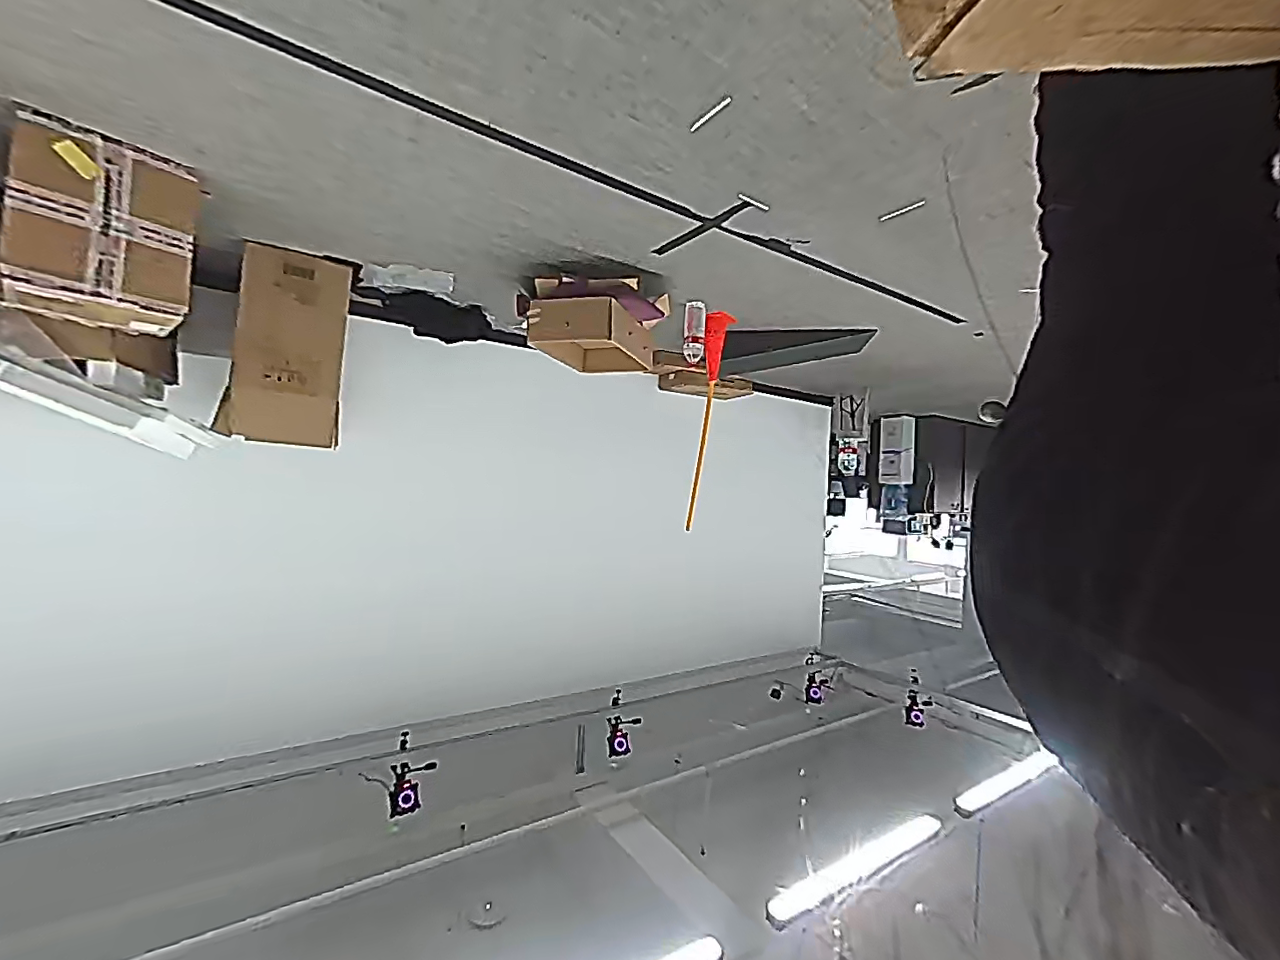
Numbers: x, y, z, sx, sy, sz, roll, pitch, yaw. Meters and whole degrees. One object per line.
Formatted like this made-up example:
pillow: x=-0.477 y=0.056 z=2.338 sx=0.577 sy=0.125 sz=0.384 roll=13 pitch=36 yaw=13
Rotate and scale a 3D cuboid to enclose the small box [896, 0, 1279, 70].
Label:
small box: x=0.159 y=-0.221 z=0.098 sx=0.179 sy=0.176 sz=0.168 roll=-12 pitch=-177 yaw=-14
